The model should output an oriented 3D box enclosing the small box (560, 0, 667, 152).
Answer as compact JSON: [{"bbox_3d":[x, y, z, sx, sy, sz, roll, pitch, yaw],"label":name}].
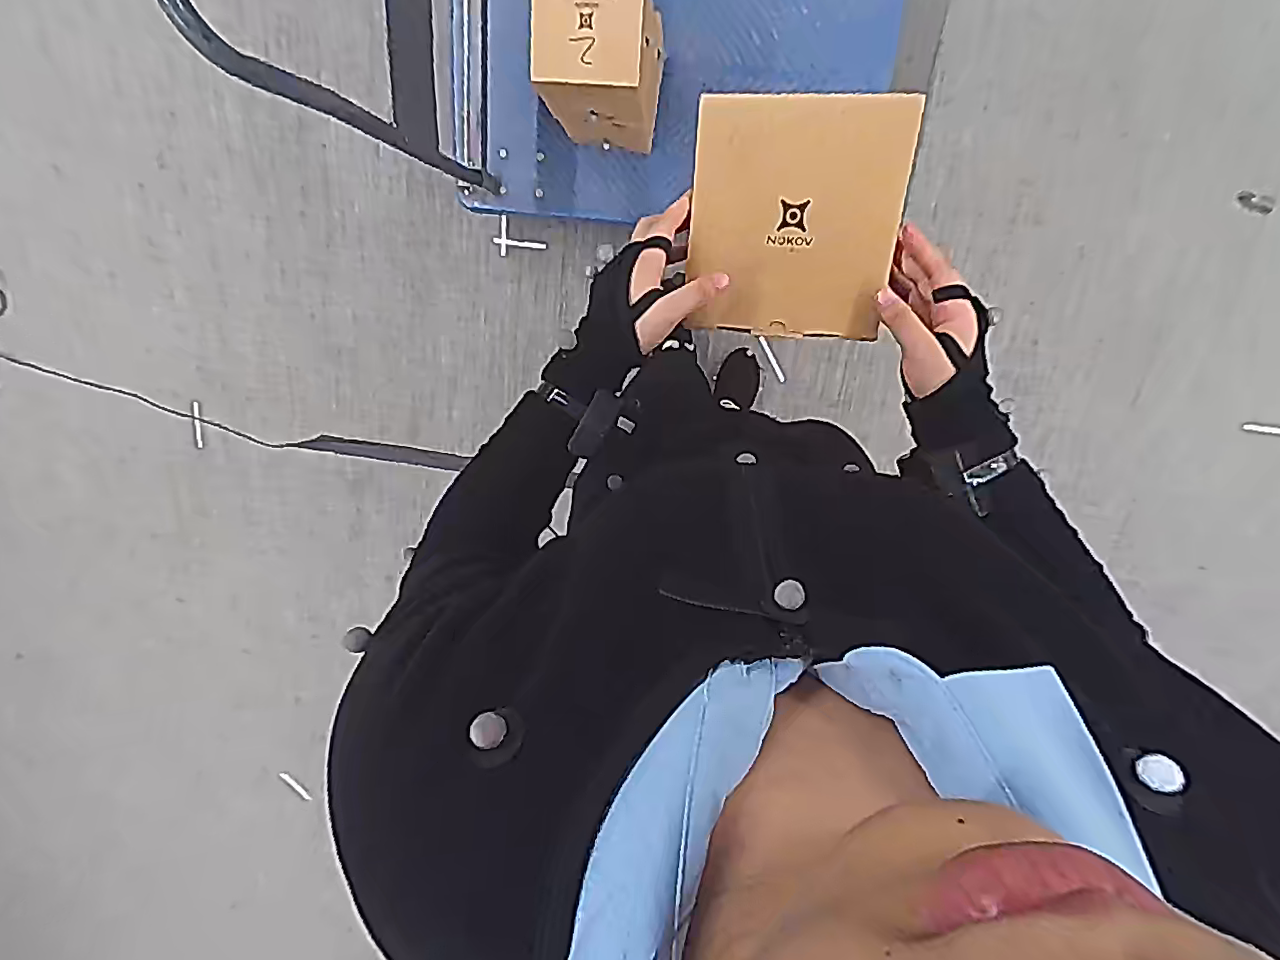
[{"bbox_3d":[-0.043,-0.744,1.009,0.168,0.176,0.179,10,108,2],"label":"small box"}]
